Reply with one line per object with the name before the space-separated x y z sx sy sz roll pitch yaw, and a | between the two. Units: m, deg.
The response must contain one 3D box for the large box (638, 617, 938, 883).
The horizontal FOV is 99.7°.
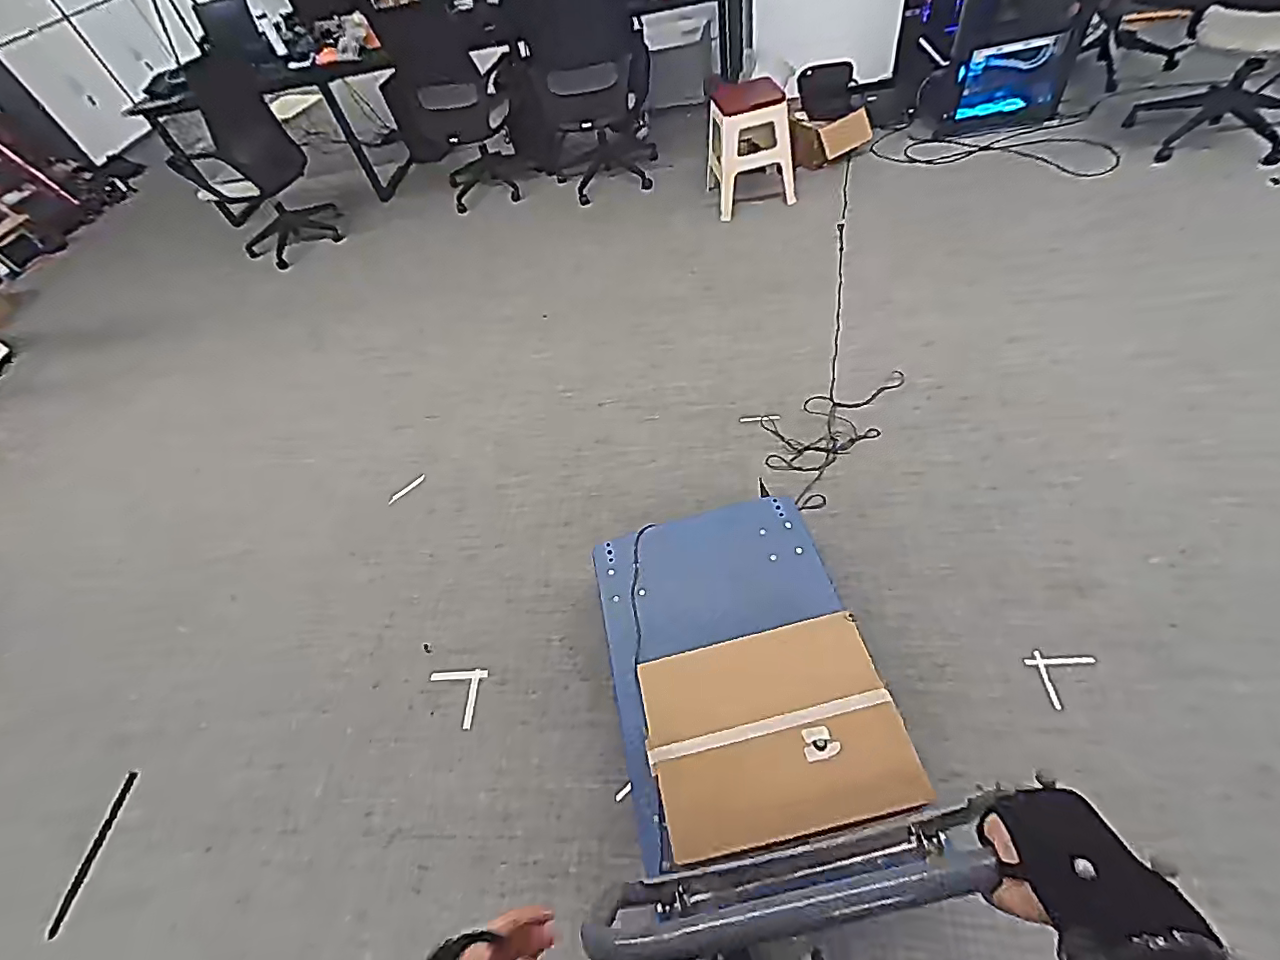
large box | 0.241 0.504 0.995 0.408 0.320 0.320 -15 52 1
